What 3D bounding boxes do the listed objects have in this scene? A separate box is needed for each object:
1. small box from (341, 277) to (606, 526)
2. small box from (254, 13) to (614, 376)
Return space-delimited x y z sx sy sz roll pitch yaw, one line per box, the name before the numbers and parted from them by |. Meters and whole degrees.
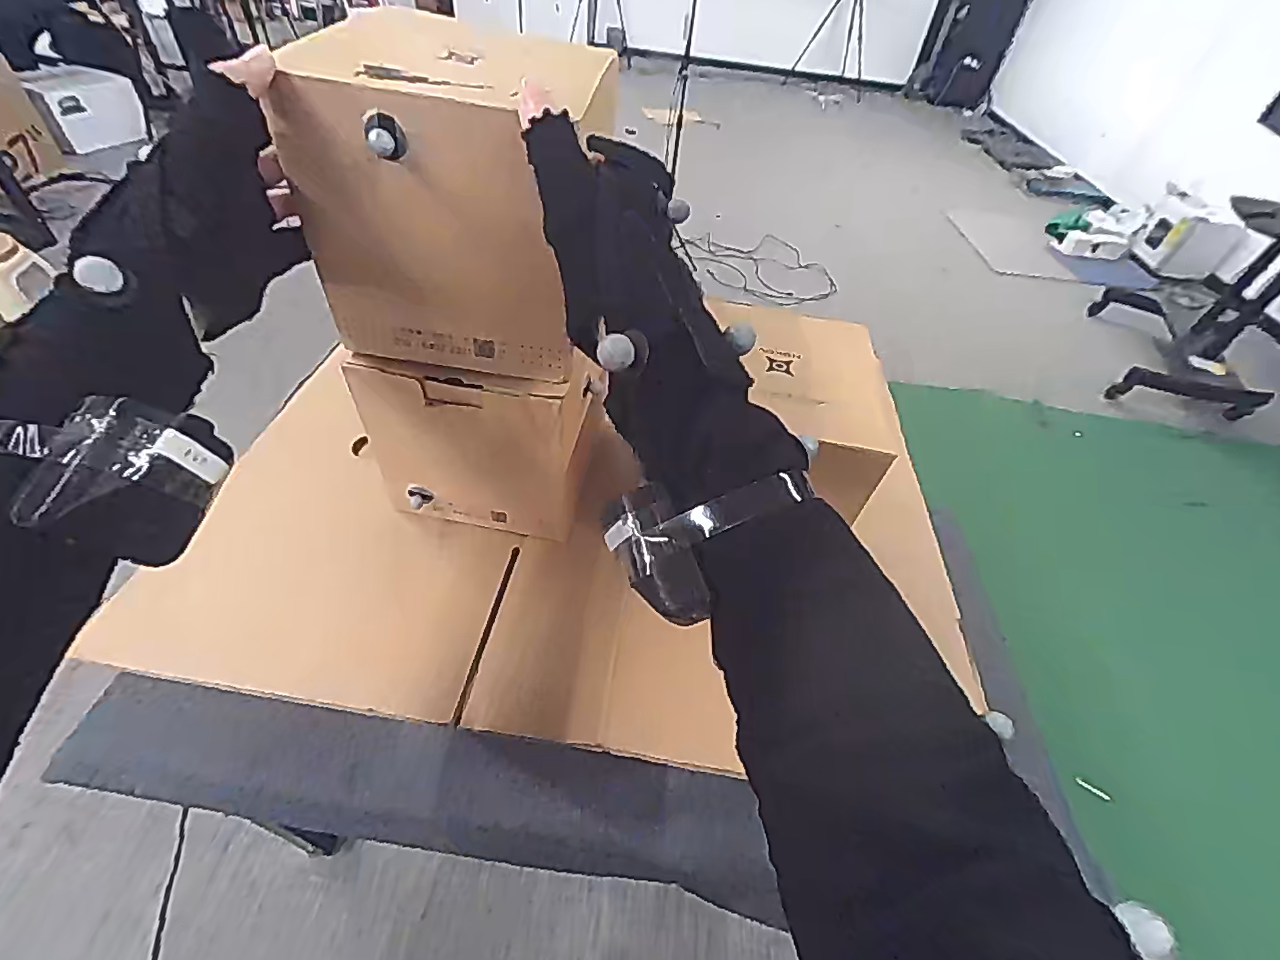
small box | -0.130 -0.081 0.500 0.168 0.176 0.179 10 47 3
small box | -0.117 -0.201 0.387 0.168 0.176 0.179 8 48 -1
